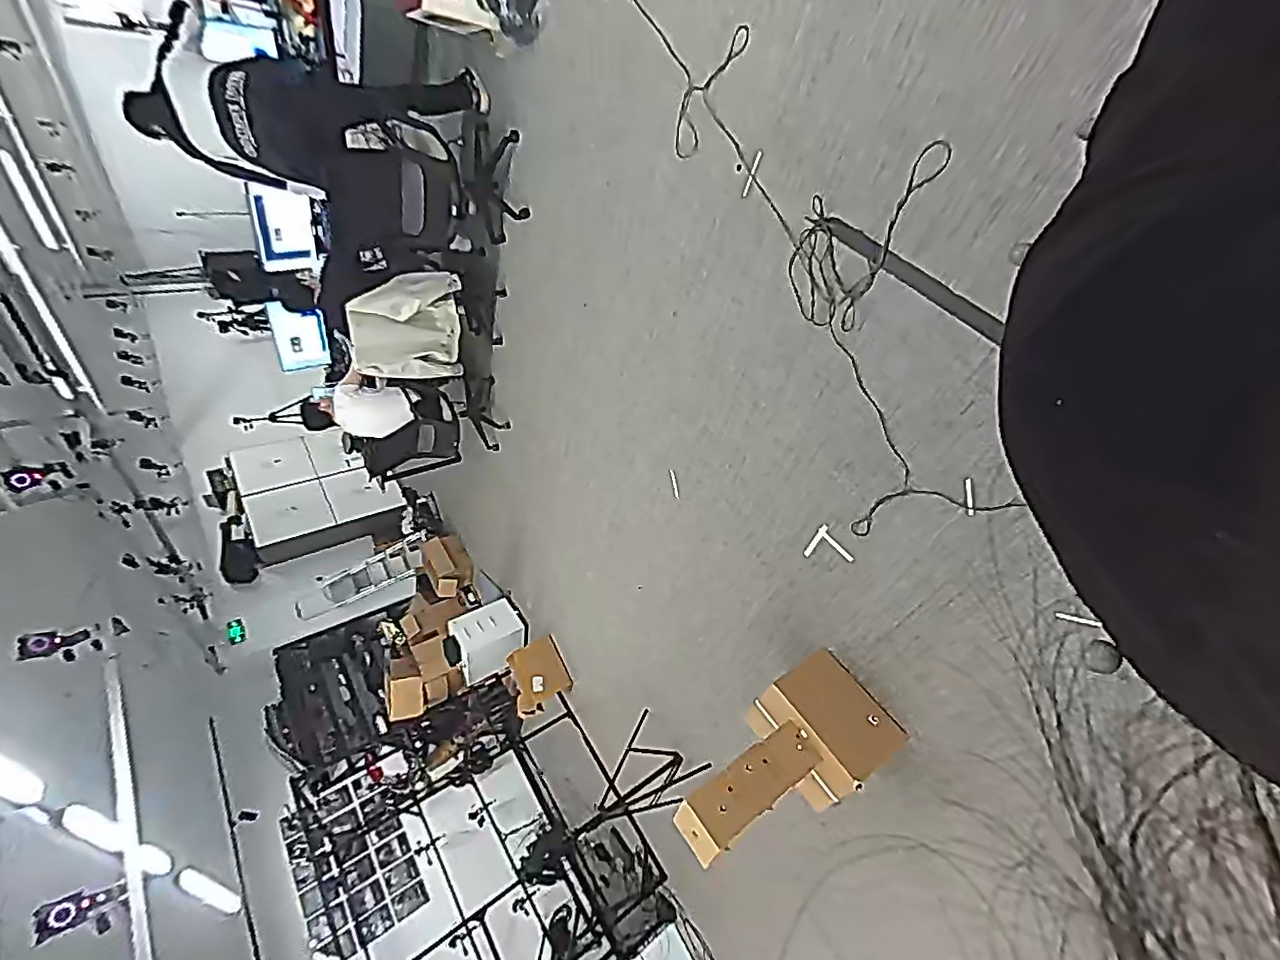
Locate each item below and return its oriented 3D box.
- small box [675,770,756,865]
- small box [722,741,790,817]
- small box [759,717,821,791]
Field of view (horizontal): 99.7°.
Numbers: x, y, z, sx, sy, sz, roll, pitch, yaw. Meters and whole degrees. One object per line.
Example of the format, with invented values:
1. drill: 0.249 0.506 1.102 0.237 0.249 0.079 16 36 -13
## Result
1. small box: 0.241 1.060 1.709 0.168 0.176 0.179 45 139 35
2. small box: 0.370 1.009 1.799 0.168 0.176 0.179 48 141 32
3. small box: 0.499 0.971 1.890 0.168 0.176 0.179 48 140 30
